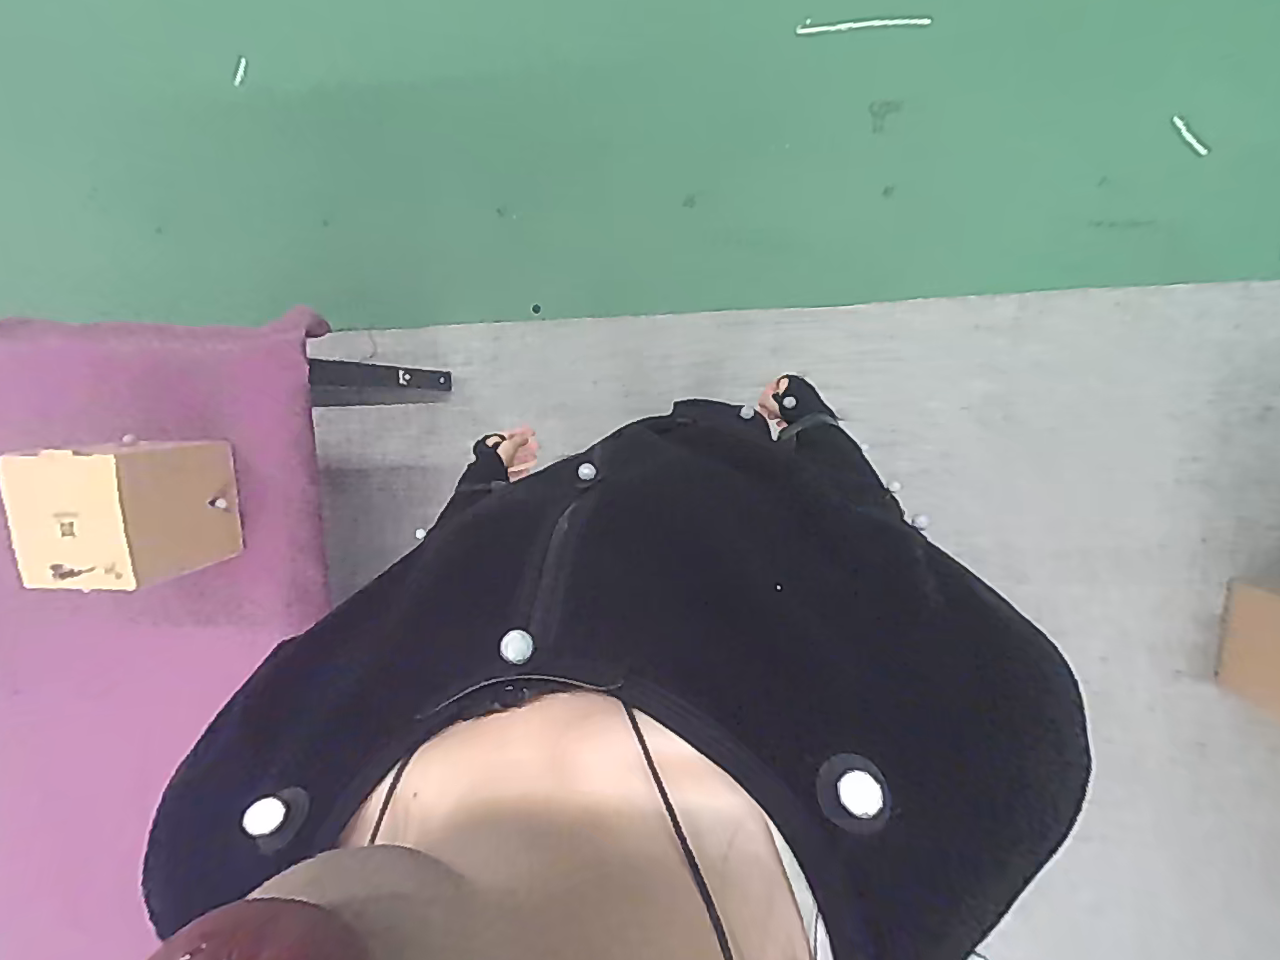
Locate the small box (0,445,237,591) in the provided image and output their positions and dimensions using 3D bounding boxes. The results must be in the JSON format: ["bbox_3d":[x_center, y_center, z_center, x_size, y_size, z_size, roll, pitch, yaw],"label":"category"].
[{"bbox_3d":[-0.702,0.042,0.747,0.168,0.176,0.179,1,98,7],"label":"small box"}]
